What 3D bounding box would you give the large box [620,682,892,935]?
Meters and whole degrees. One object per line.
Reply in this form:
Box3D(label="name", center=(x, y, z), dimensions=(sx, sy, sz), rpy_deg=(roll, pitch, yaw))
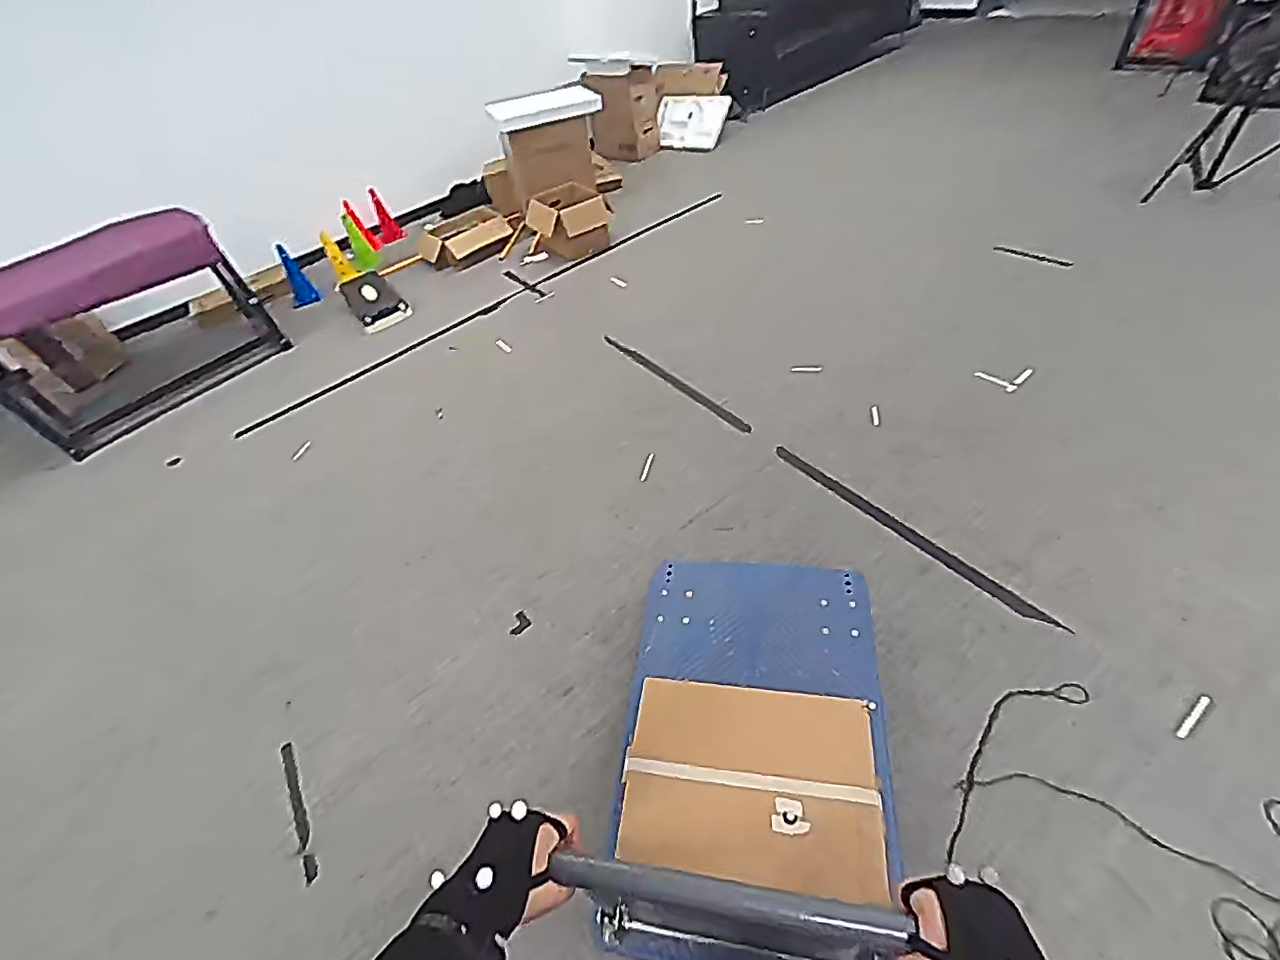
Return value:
Box3D(label="large box", center=(0.201, 0.603, 1.003), dimensions=(0.408, 0.320, 0.320), rpy_deg=(1, 48, 12))
